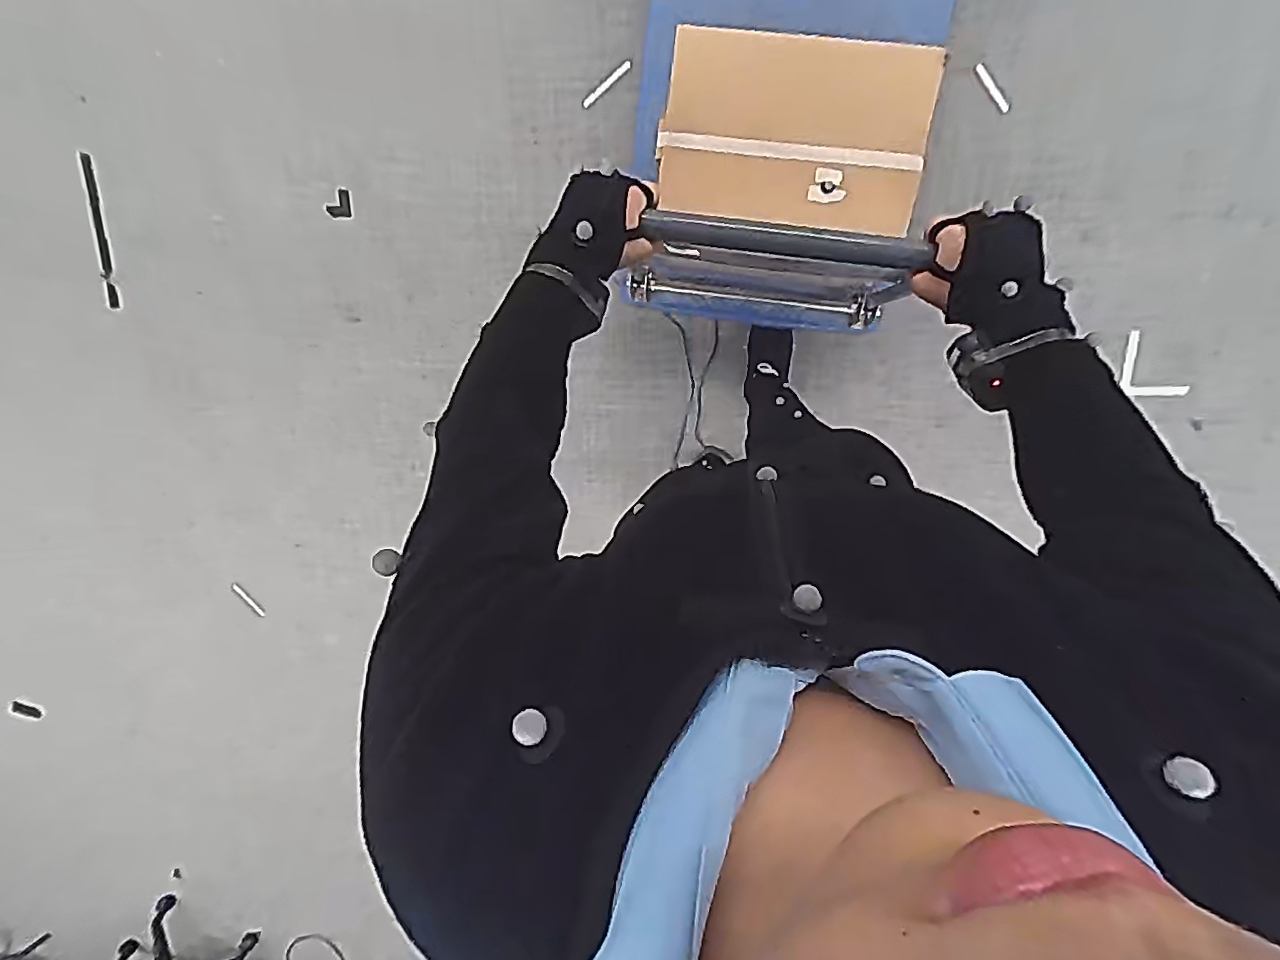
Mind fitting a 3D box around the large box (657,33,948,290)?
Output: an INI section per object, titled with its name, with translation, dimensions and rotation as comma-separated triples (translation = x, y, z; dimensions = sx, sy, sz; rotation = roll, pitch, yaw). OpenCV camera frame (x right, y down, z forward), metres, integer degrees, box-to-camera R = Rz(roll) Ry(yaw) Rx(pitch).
[large box]
translation = 0.252, -0.538, 0.982
dimensions = 0.408, 0.320, 0.320
rotation = 8, 106, 4
